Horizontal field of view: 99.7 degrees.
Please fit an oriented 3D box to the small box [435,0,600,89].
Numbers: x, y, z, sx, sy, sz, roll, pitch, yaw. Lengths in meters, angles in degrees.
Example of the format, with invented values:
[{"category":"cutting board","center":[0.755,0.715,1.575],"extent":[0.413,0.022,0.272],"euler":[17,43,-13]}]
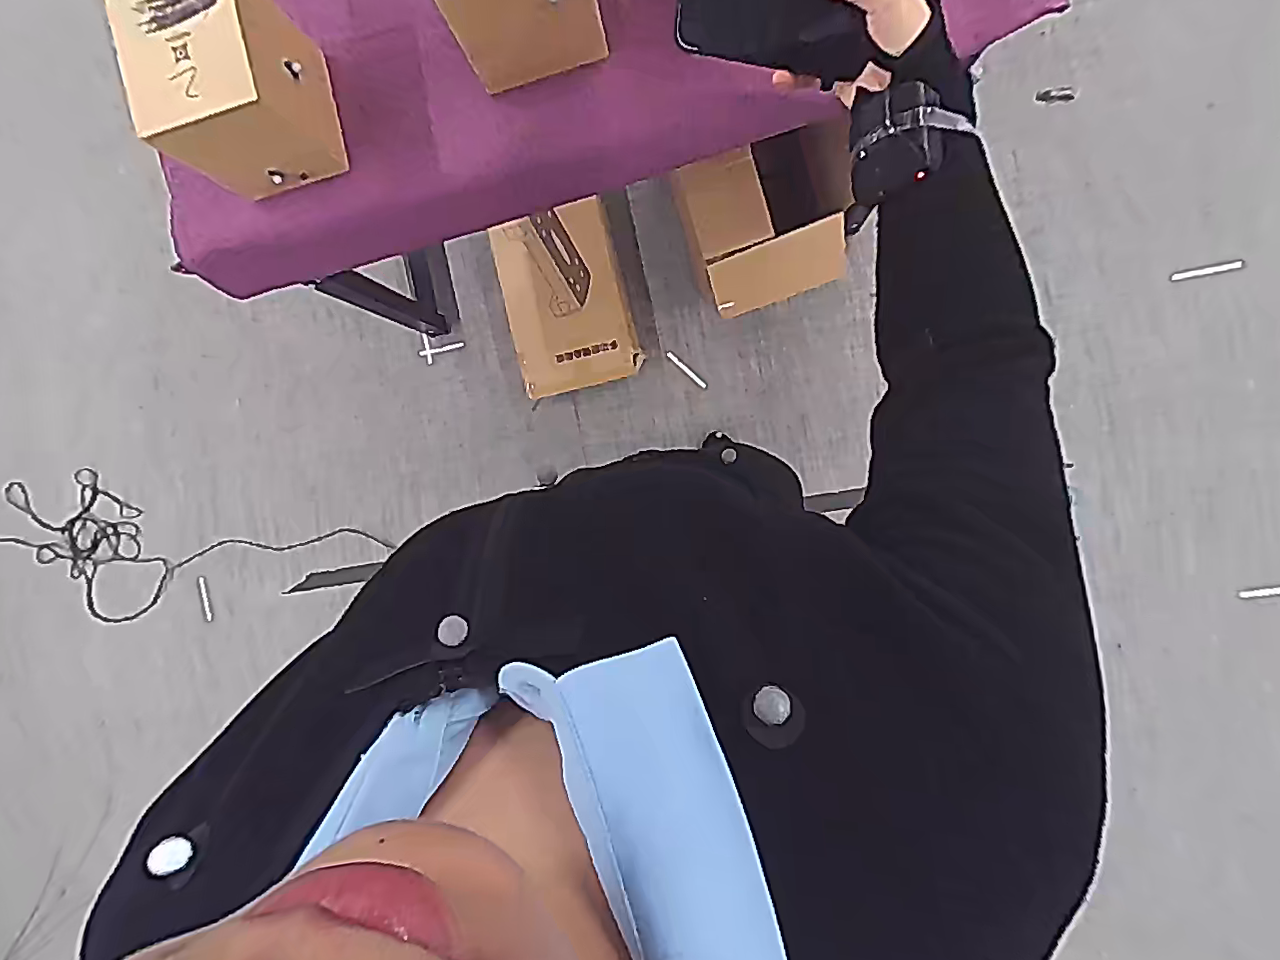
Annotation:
[{"category":"small box","center":[-0.152,-0.627,0.654],"extent":[0.179,0.176,0.168],"euler":[-13,89,7]}]
